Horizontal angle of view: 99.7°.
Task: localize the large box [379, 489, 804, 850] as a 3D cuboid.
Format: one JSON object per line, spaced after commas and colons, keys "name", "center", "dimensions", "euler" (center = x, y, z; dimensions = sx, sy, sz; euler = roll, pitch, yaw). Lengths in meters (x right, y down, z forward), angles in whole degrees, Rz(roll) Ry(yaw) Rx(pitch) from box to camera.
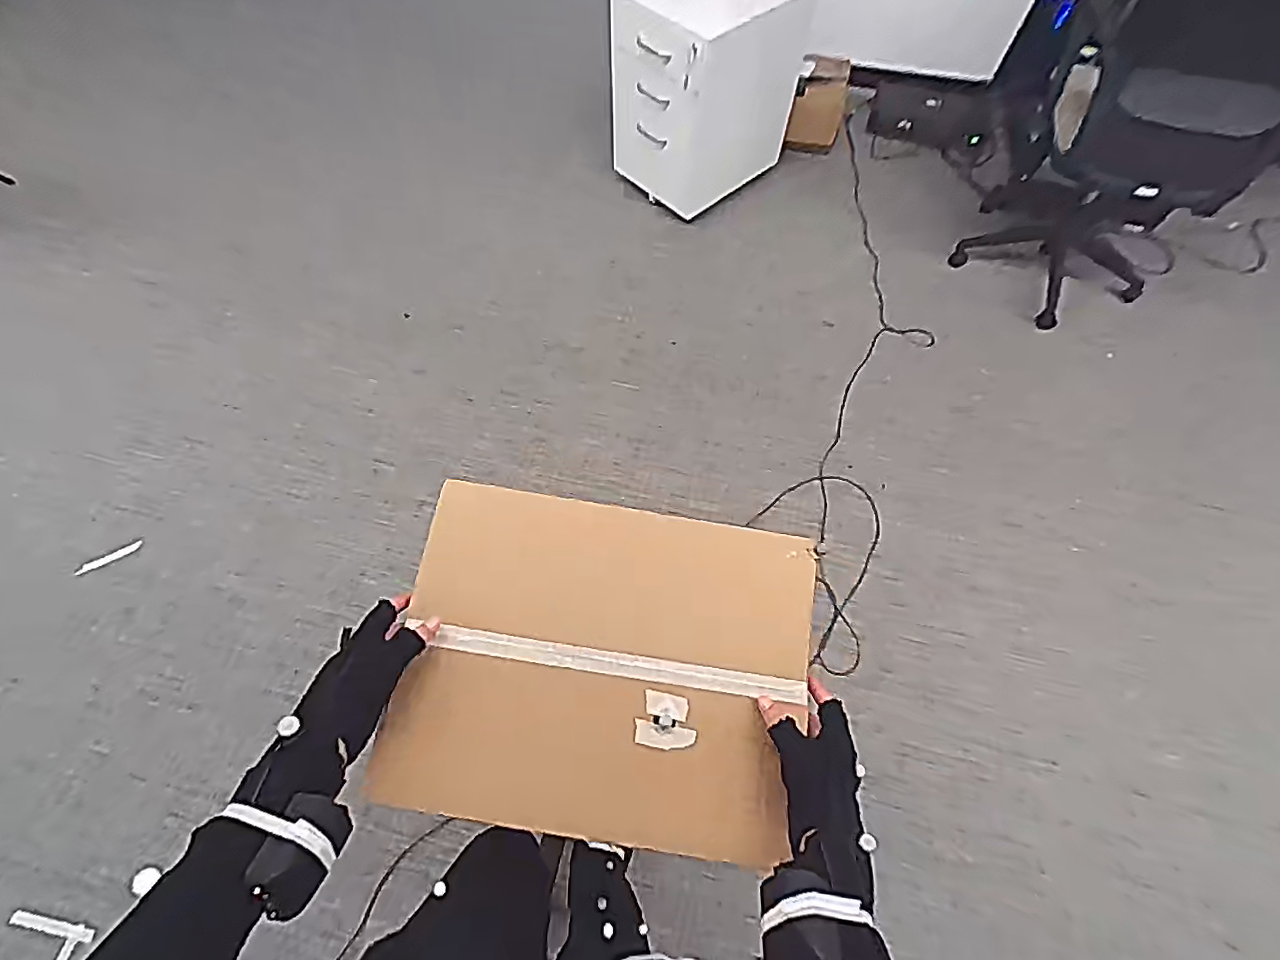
{"name": "large box", "center": [-0.043, 0.225, 0.700], "dimensions": [0.408, 0.320, 0.320], "euler": [9, 74, -1]}
